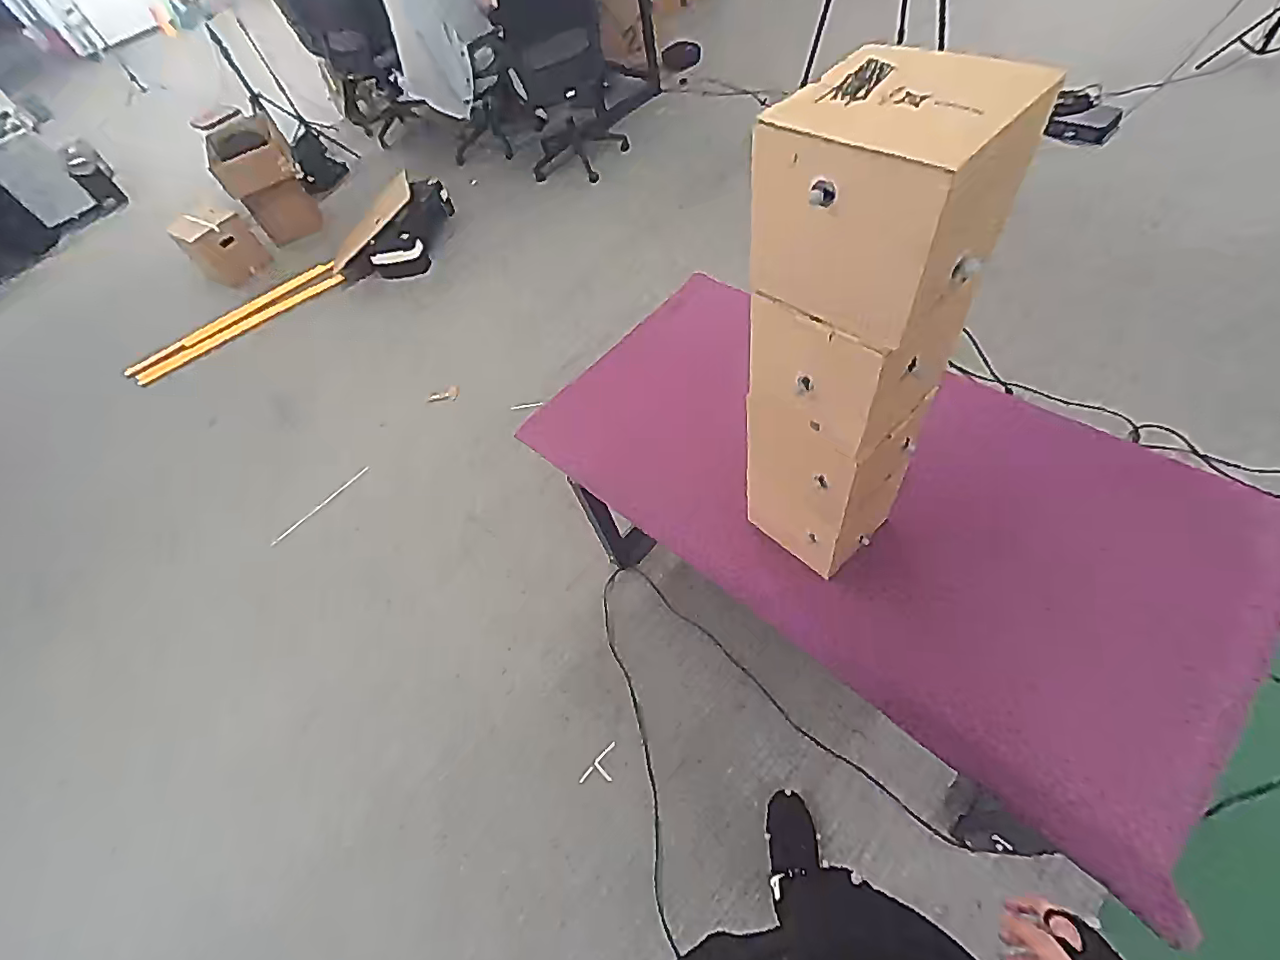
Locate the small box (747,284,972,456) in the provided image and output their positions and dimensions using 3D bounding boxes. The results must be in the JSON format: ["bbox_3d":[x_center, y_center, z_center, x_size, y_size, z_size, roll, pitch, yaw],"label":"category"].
[{"bbox_3d":[0.246,-0.160,0.632,0.179,0.176,0.168,-40,58,-16],"label":"small box"}]

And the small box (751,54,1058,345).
[{"bbox_3d":[0.220,-0.255,0.500,0.168,0.176,0.179,-42,58,-17],"label":"small box"}]

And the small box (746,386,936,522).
[{"bbox_3d":[0.270,-0.064,0.762,0.168,0.176,0.179,-40,57,-16],"label":"small box"}]
